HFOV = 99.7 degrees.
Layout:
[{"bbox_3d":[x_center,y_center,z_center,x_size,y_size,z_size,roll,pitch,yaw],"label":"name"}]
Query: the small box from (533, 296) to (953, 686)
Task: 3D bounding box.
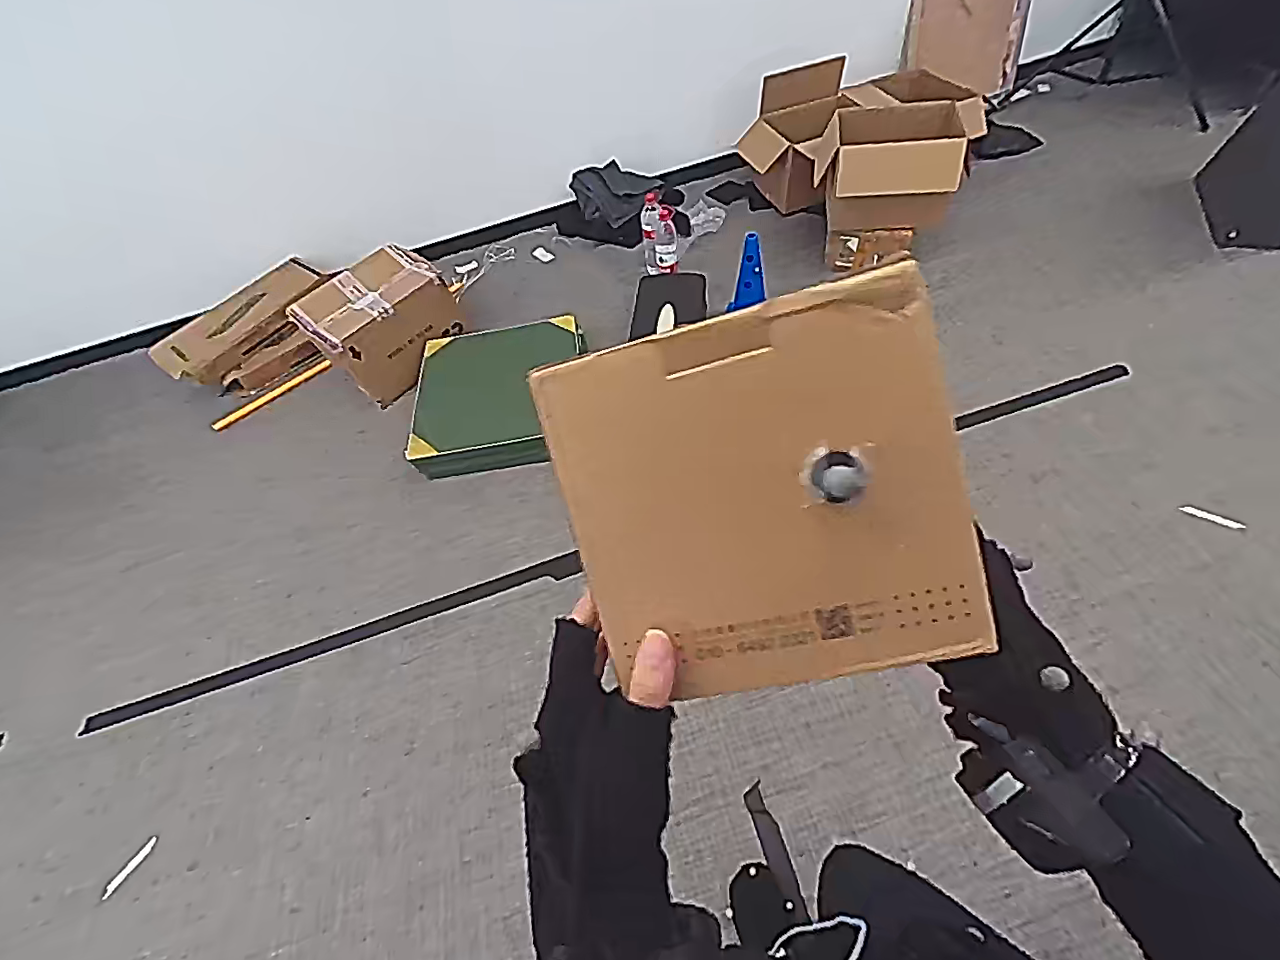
[{"bbox_3d":[0.065,0.008,0.329,0.168,0.179,0.176,-14,97,16],"label":"small box"}]
